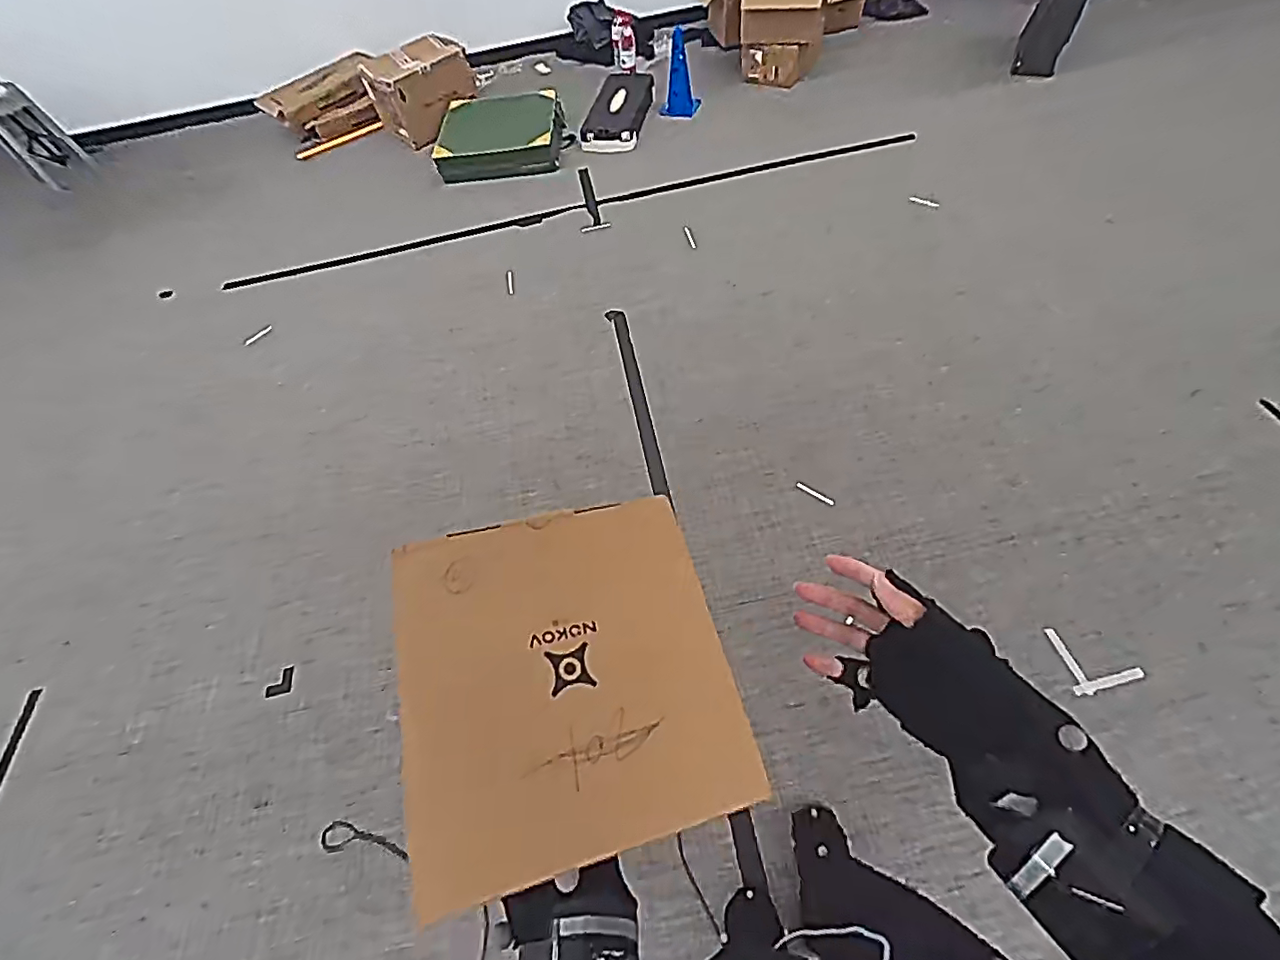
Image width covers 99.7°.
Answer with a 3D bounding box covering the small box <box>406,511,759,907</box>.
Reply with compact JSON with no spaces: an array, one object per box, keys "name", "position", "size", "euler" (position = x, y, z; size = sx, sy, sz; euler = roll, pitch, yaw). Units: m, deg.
[{"name":"small box","position":[-0.050,0.146,0.361],"size":[0.168,0.176,0.179],"euler":[-10,59,-15]}]
